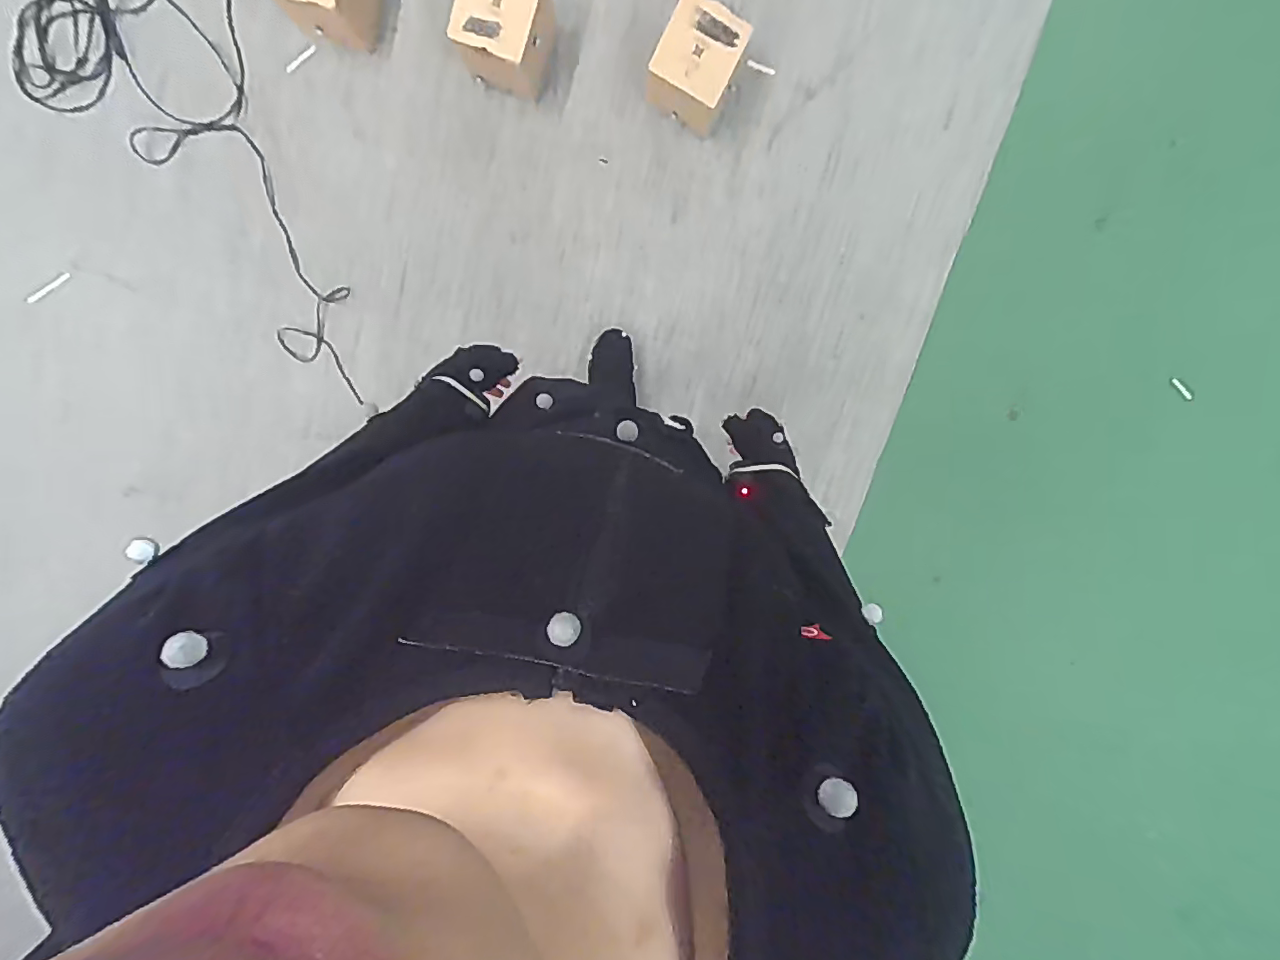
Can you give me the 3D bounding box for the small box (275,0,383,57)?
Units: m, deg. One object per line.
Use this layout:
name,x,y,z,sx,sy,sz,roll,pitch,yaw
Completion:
small box,-0.688,-1.090,1.188,0.168,0.176,0.179,15,102,-2

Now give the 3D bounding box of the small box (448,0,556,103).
small box,-0.298,-0.988,1.202,0.168,0.176,0.179,20,100,-3
